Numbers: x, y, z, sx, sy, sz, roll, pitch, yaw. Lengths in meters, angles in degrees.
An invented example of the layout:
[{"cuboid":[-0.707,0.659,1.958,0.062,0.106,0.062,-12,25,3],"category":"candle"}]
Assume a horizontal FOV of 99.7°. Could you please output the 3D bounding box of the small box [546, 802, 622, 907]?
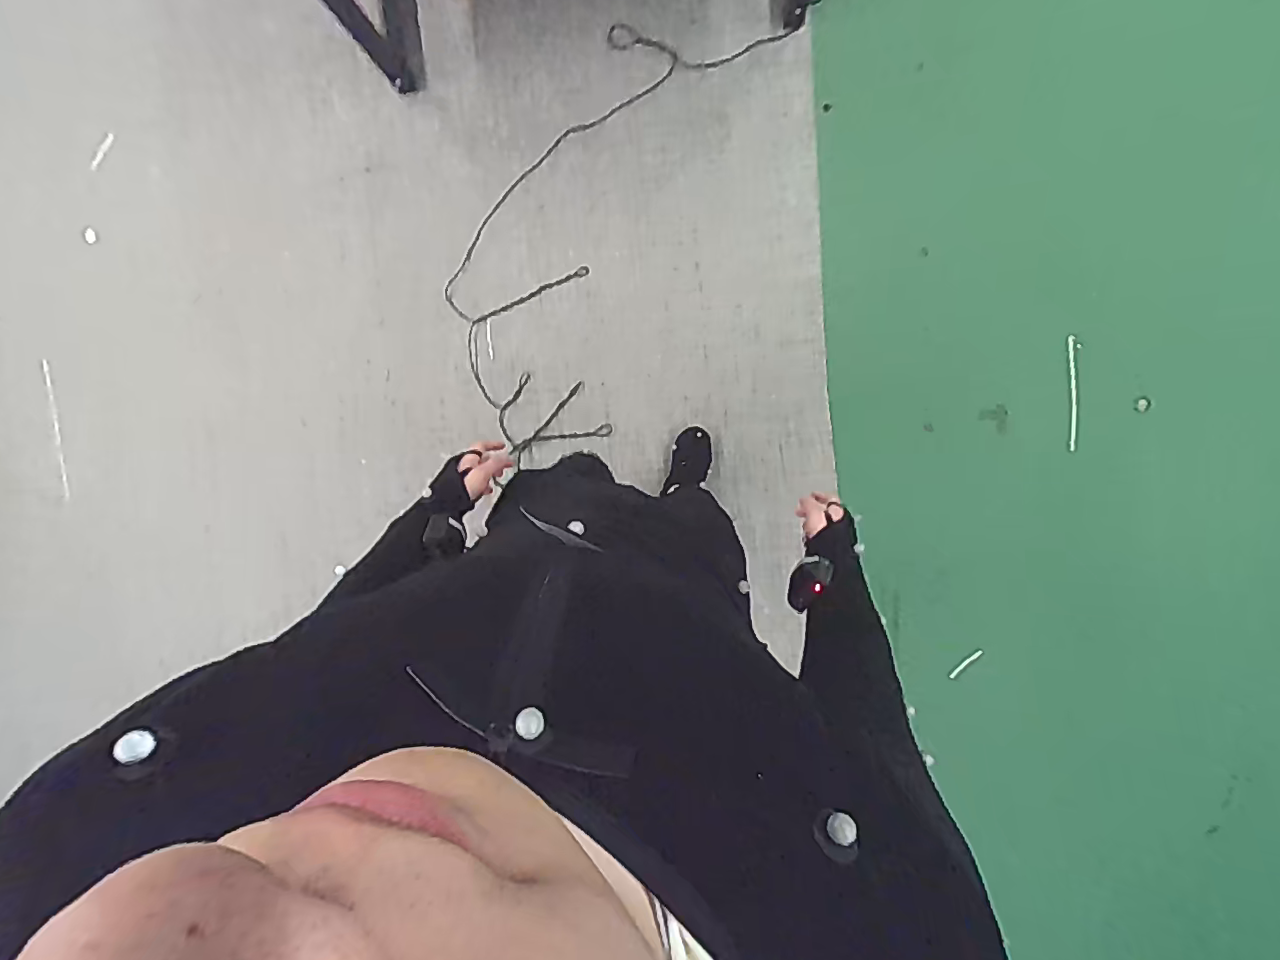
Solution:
[{"cuboid":[-0.145,0.998,1.456,0.168,0.176,0.179,-7,94,6],"category":"small box"}]
